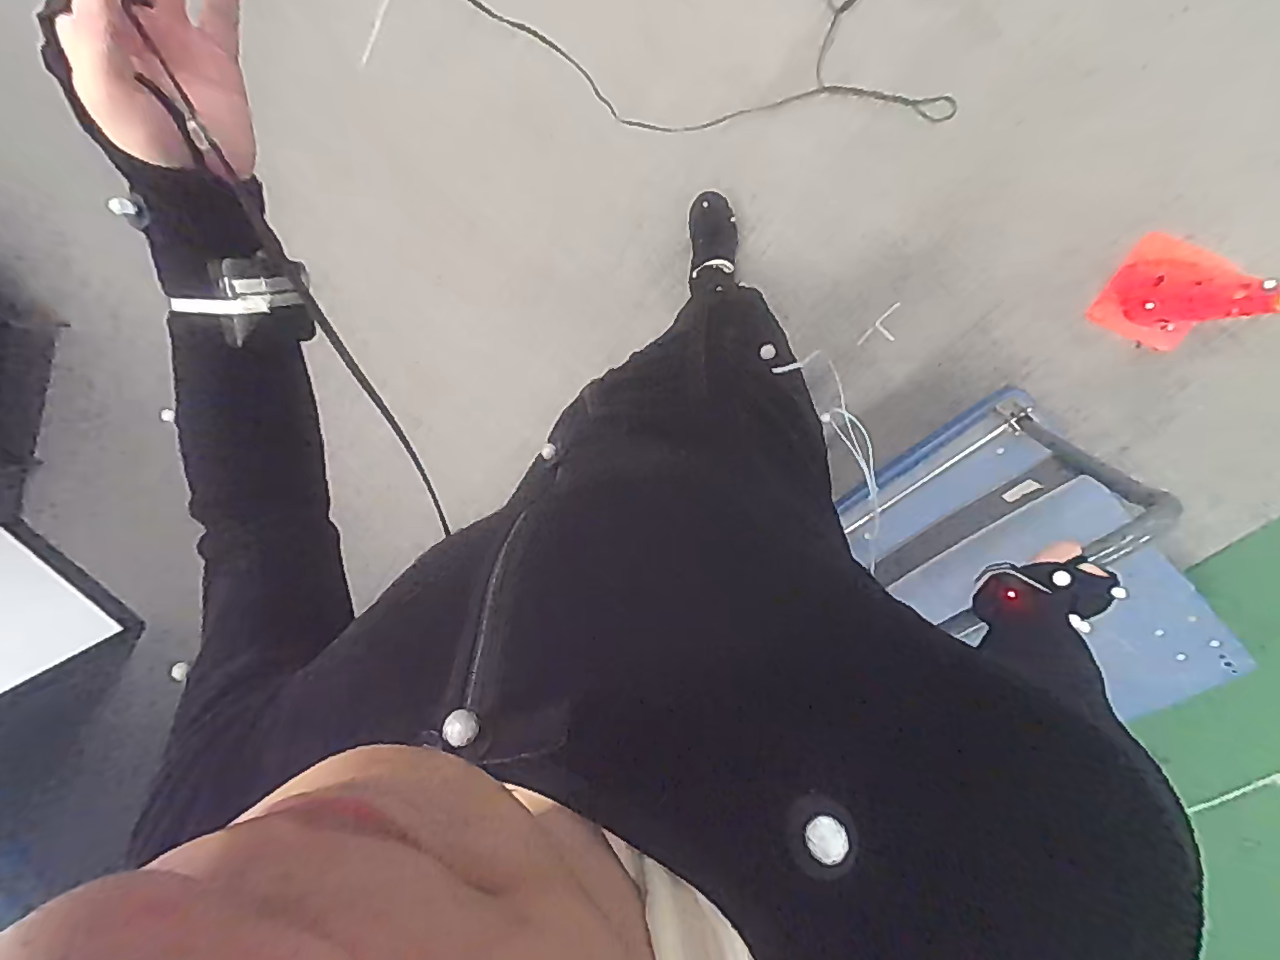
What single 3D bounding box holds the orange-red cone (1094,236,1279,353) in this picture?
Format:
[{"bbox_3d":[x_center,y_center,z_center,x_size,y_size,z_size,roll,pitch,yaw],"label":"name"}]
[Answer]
[{"bbox_3d":[1.095,-0.344,1.021,0.198,0.360,0.199,29,114,4],"label":"orange-red cone"}]
